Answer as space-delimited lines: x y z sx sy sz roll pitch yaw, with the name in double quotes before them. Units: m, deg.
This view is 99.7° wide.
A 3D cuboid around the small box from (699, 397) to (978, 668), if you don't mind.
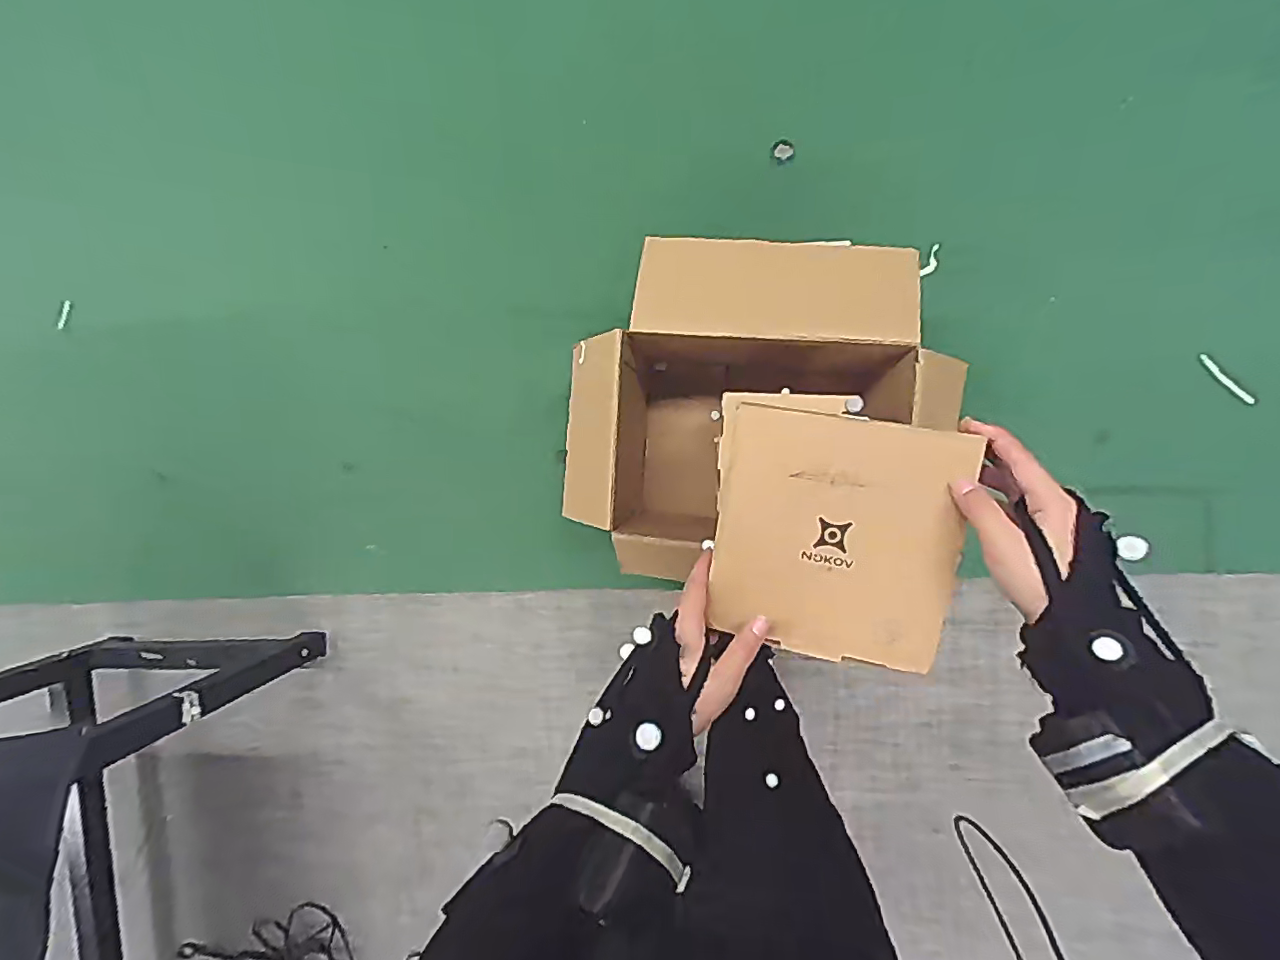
"small box" 0.153 0.027 0.462 0.168 0.176 0.179 9 99 12
